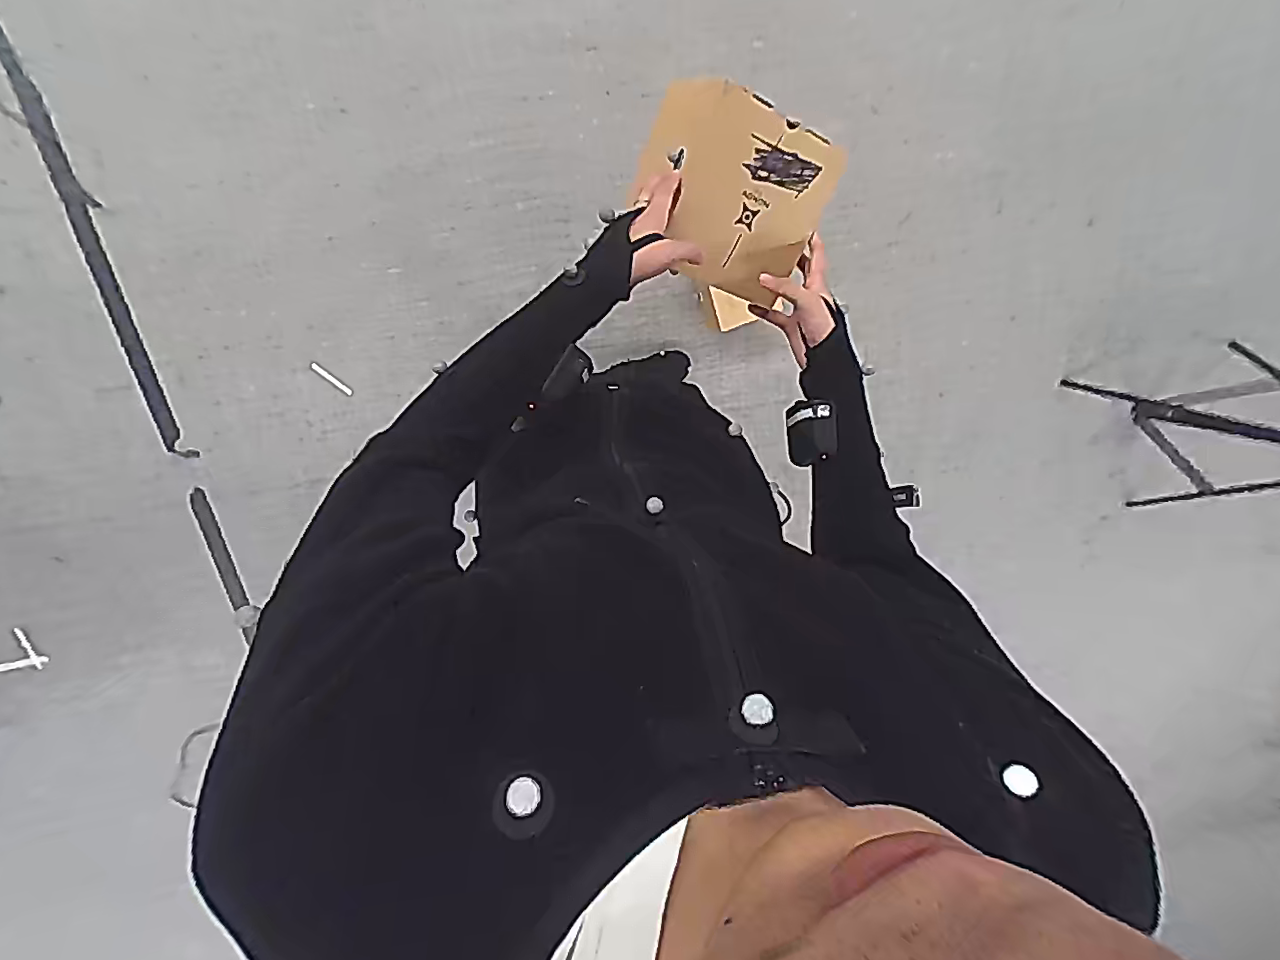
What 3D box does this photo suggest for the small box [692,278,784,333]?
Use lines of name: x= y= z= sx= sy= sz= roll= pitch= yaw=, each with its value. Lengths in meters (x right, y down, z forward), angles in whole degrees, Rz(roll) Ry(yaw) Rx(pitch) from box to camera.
small box: x=0.257 y=-0.505 z=1.446 sx=0.179 sy=0.176 sz=0.168 roll=-20 pitch=109 yaw=-1

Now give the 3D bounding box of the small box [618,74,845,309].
small box: x=0.090 y=-0.330 z=0.626 sx=0.168 sy=0.176 sz=0.179 roll=12 pitch=120 yaw=-26
